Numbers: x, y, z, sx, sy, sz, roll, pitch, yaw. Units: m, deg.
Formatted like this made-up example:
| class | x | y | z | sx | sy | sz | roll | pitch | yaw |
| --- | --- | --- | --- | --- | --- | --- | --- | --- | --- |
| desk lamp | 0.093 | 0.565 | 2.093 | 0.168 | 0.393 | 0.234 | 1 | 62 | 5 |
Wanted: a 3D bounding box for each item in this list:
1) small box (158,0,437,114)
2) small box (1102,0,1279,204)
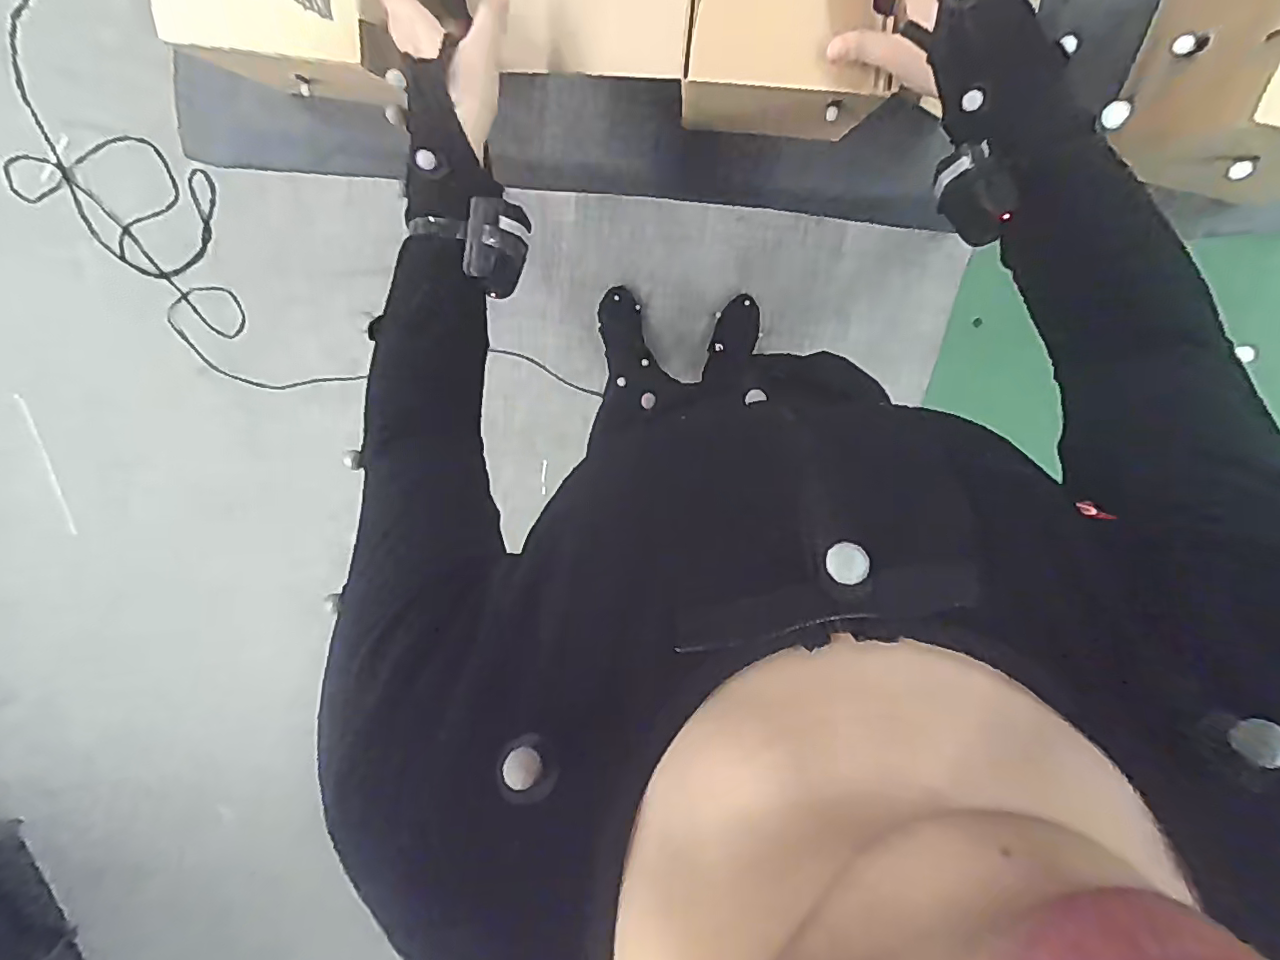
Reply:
| class | x | y | z | sx | sy | sz | roll | pitch | yaw |
| --- | --- | --- | --- | --- | --- | --- | --- | --- | --- |
| small box | -0.297 | -0.455 | 0.494 | 0.179 | 0.176 | 0.168 | 8 | 113 | 1 |
| small box | 0.573 | -0.356 | 0.473 | 0.179 | 0.176 | 0.168 | 12 | 109 | 0 |
